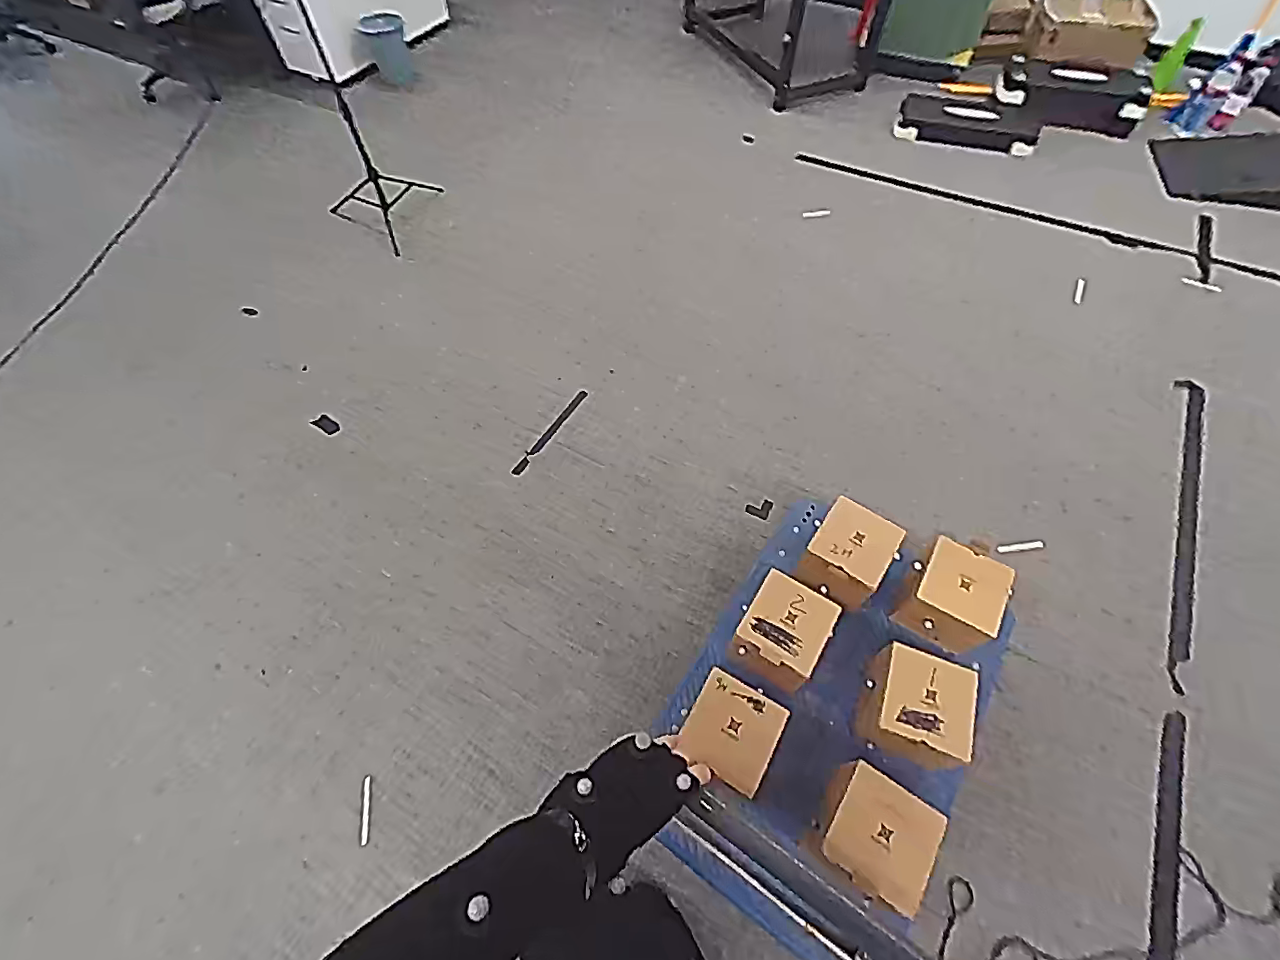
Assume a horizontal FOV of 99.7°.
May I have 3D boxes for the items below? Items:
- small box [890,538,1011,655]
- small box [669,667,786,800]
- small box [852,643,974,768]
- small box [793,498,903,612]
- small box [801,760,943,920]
[{"bbox_3d":[0.697,0.271,1.233,0.168,0.176,0.179,28,63,17],"label":"small box"},{"bbox_3d":[0.170,0.513,1.089,0.168,0.176,0.179,28,63,16],"label":"small box"},{"bbox_3d":[0.554,0.469,1.113,0.168,0.176,0.179,20,60,12],"label":"small box"},{"bbox_3d":[0.486,0.182,1.288,0.168,0.176,0.179,33,65,19],"label":"small box"},{"bbox_3d":[0.416,0.656,1.000,0.168,0.176,0.179,31,63,18],"label":"small box"}]
